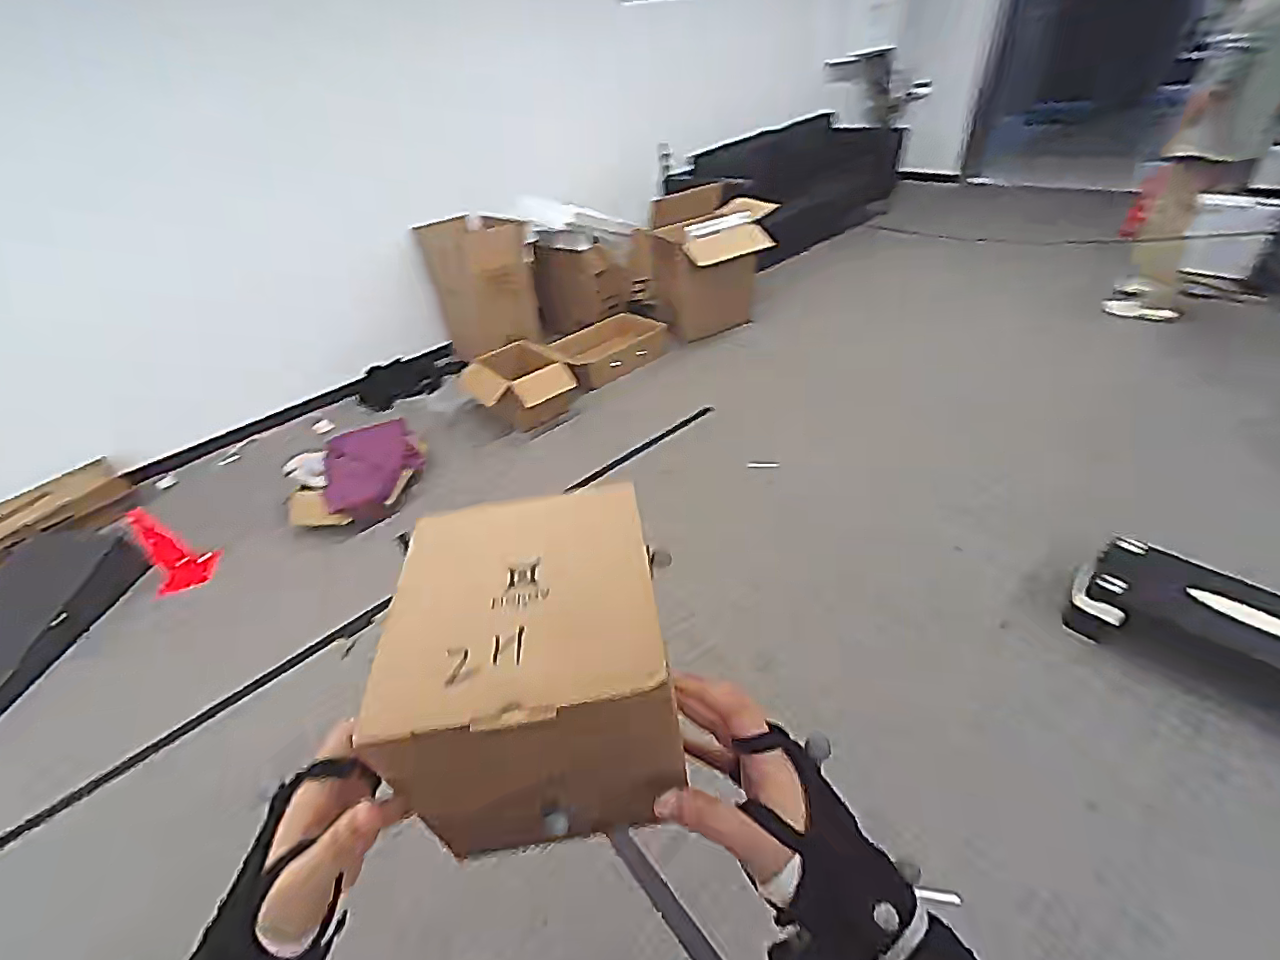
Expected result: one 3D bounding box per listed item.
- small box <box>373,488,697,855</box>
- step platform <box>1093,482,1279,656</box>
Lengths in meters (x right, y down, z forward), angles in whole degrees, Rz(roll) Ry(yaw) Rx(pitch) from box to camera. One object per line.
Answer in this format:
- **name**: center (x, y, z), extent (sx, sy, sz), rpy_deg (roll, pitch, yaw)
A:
- **small box**: center (-0.057, 0.132, 0.392), extent (0.168, 0.176, 0.179), rpy_deg (-10, 37, 0)
- **step platform**: center (1.552, 0.261, 1.317), extent (0.286, 0.204, 0.684), rpy_deg (-34, 45, -29)
